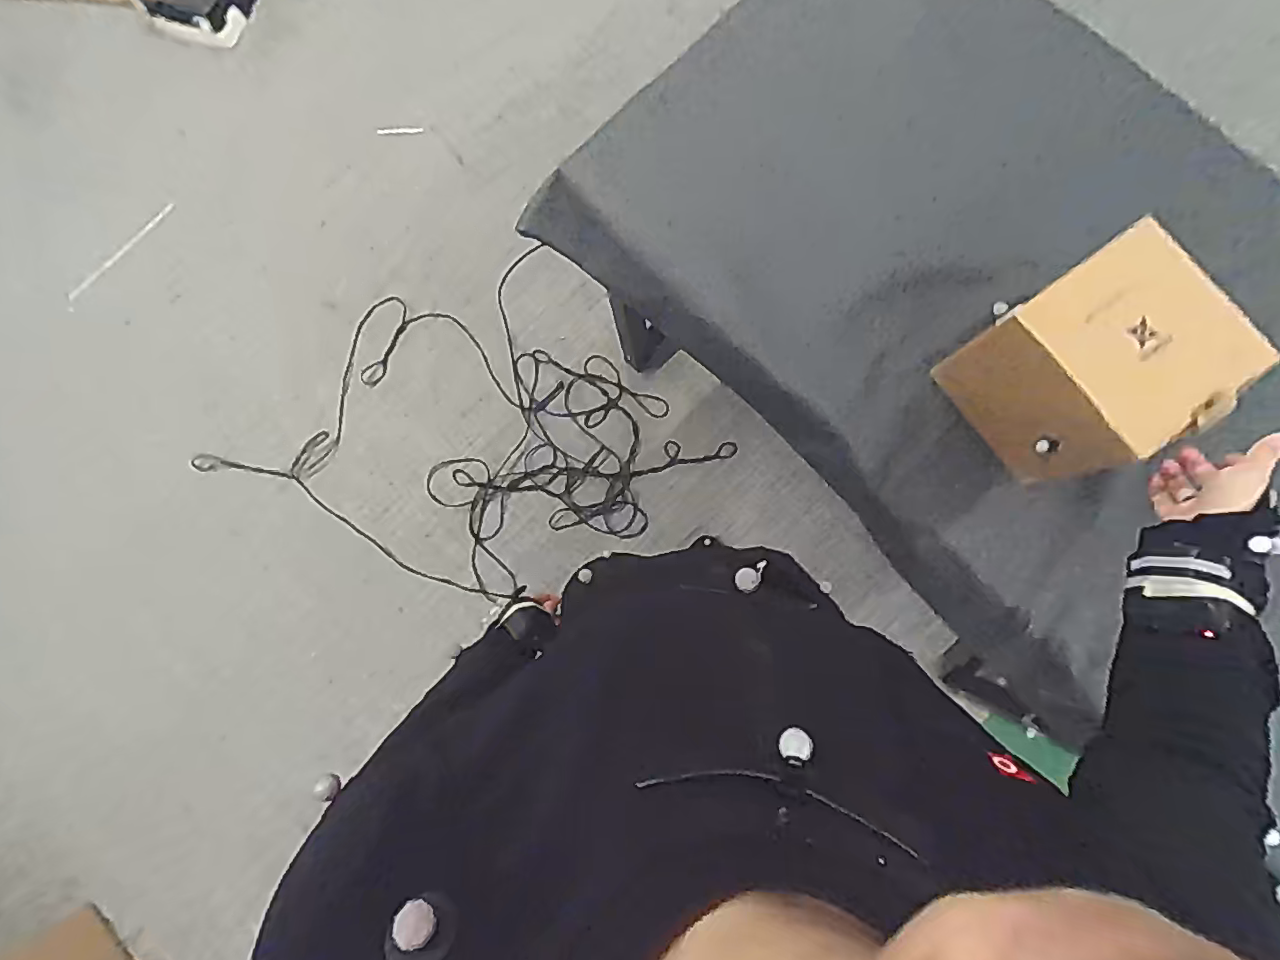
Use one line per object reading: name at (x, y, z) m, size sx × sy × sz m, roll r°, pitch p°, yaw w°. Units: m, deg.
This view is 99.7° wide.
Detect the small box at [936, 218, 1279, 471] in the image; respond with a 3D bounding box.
small box at (0.466, -0.123, 0.573) m, size 0.168 × 0.176 × 0.179 m, roll -36°, pitch 82°, yaw -3°
